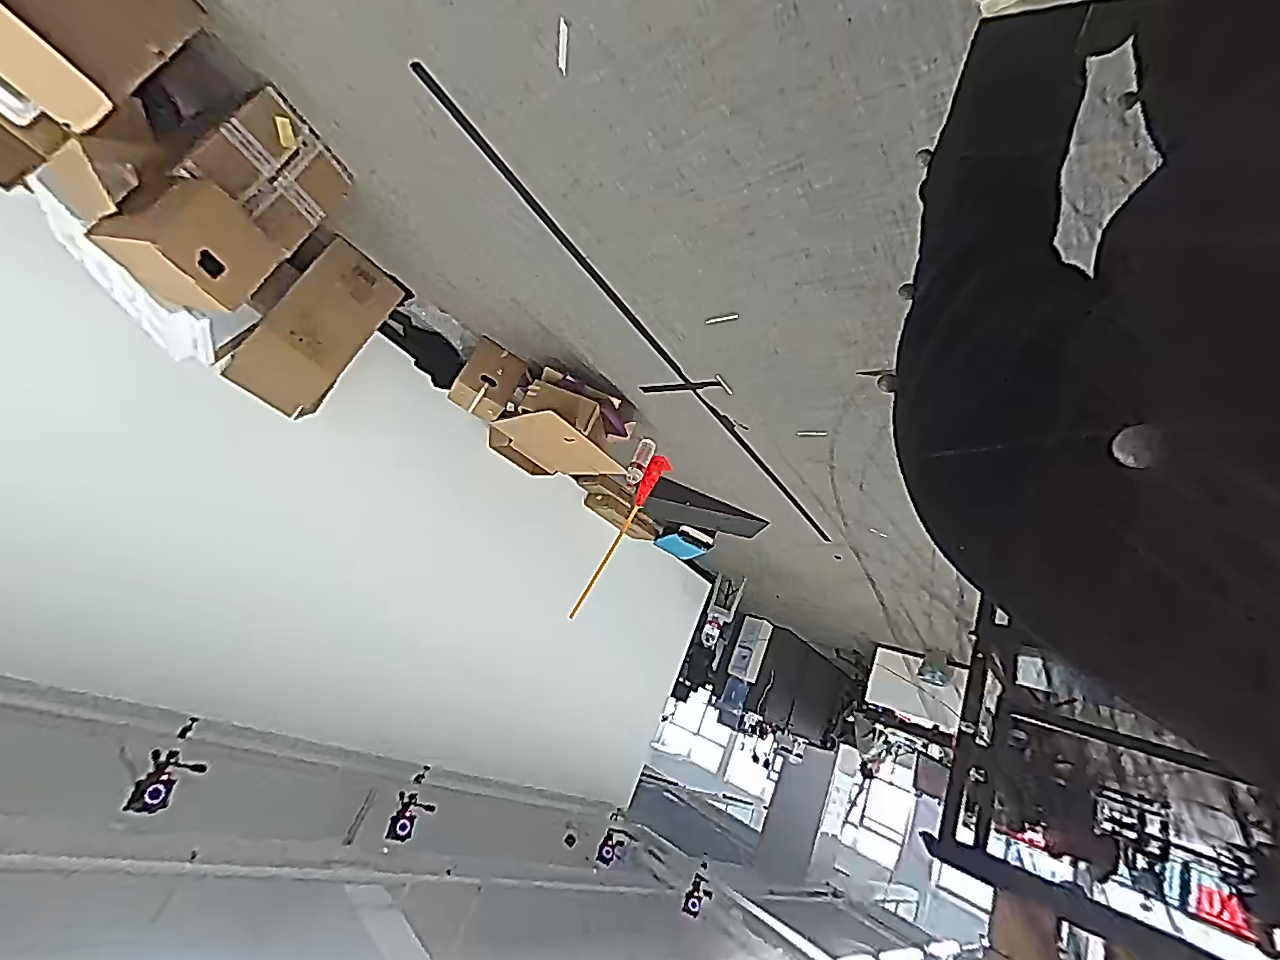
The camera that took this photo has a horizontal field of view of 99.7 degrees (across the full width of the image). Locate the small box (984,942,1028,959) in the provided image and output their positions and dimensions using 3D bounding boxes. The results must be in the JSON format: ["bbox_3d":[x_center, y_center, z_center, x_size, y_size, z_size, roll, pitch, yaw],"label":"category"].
[{"bbox_3d":[1.108,1.500,1.580,0.179,0.176,0.168,3,155,44],"label":"small box"}]

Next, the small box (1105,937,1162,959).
[{"bbox_3d":[1.367,1.382,1.462,0.168,0.176,0.179,6,156,43],"label":"small box"}]
